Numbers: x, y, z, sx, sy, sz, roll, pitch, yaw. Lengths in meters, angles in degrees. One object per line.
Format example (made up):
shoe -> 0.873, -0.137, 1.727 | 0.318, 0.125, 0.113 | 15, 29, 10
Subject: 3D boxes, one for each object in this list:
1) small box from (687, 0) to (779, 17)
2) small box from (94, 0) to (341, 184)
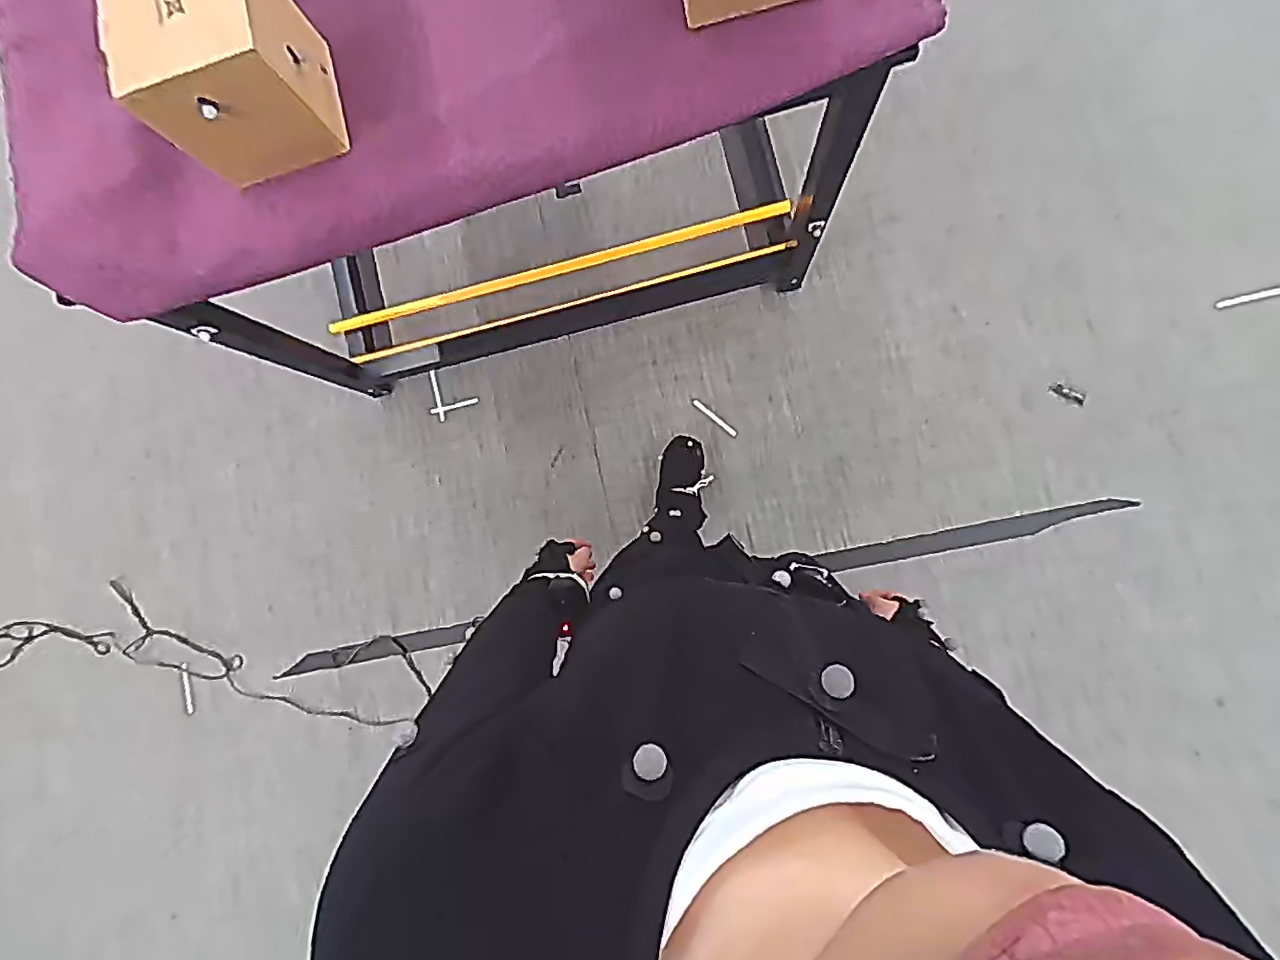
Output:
small box -> 0.124, -0.671, 0.598 | 0.179, 0.176, 0.168 | -11, 85, 6
small box -> -0.498, -0.505, 0.662 | 0.179, 0.176, 0.168 | -15, 85, 5
